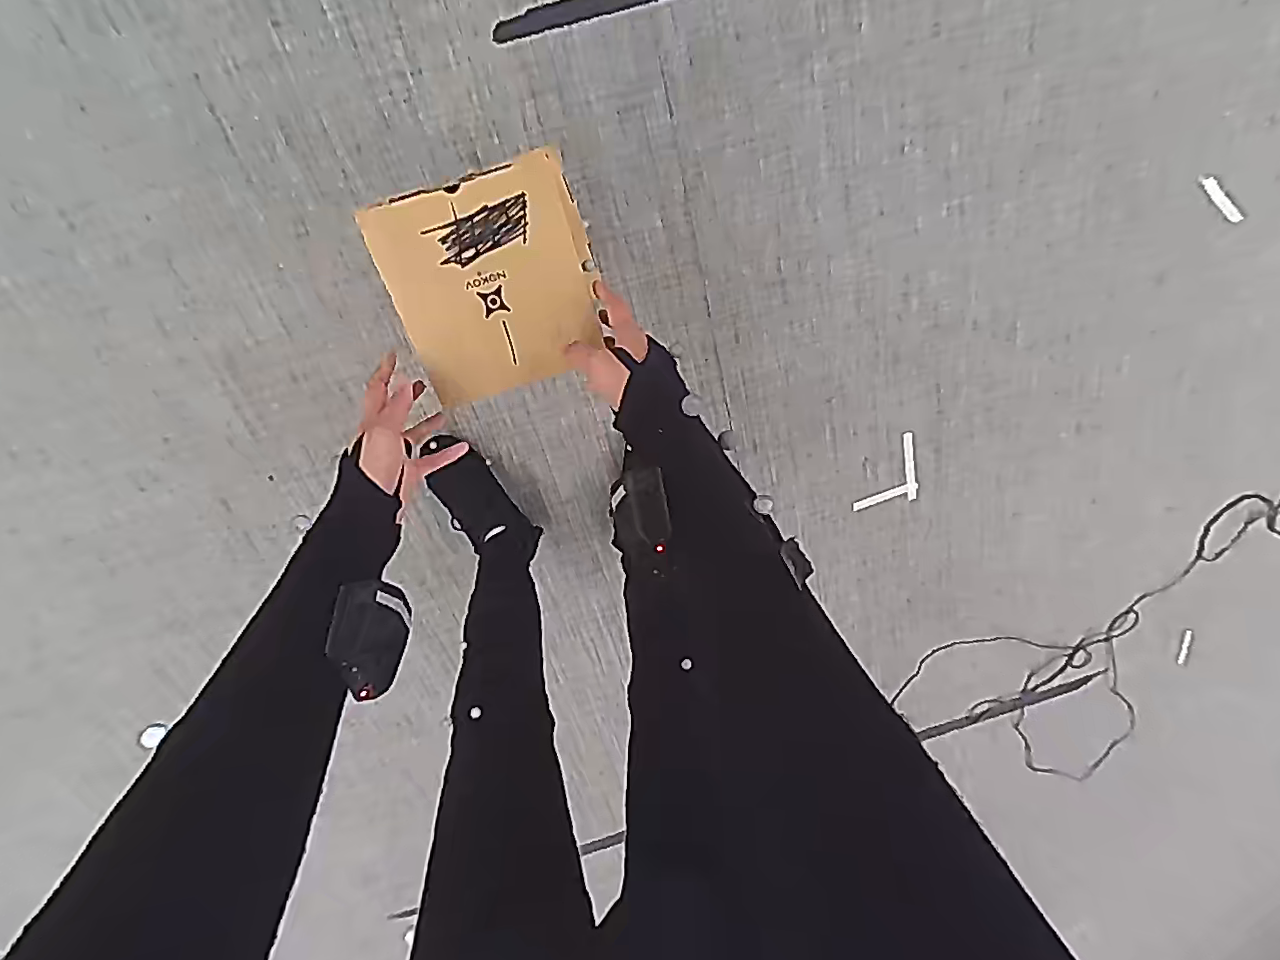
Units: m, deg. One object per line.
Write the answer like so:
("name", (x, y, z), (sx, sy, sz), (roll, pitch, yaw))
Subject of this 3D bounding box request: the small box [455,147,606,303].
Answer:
("small box", (-0.156, -0.285, 0.678), (0.179, 0.176, 0.168), (-21, 116, 0))

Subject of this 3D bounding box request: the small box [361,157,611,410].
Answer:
("small box", (-0.138, -0.194, 0.540), (0.168, 0.176, 0.179), (-18, 116, -1))
